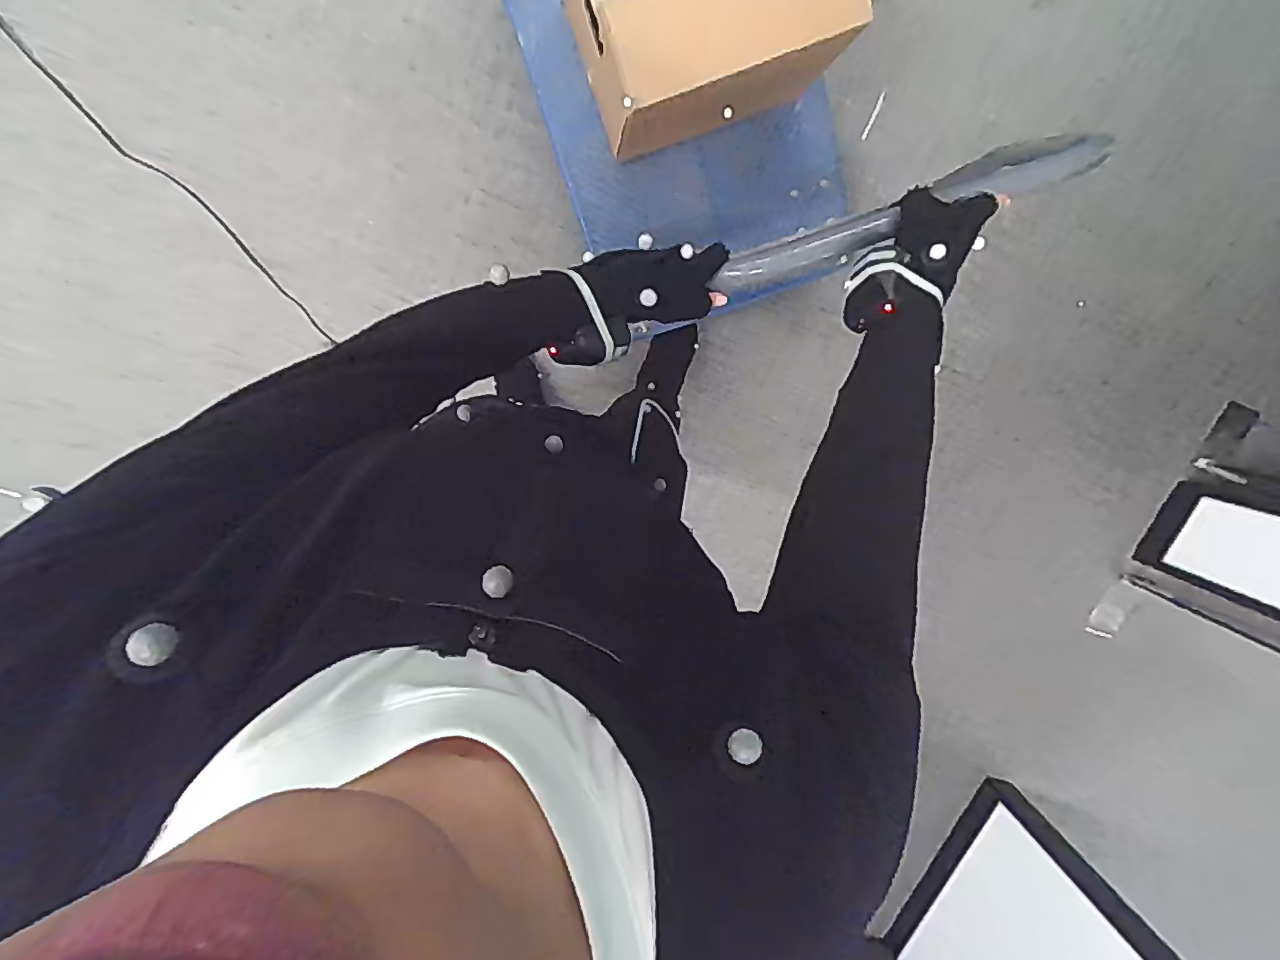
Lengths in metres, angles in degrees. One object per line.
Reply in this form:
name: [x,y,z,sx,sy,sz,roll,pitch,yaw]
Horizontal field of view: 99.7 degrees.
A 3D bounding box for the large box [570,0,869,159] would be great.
large box: [0.112,-0.828,0.945,0.408,0.320,0.320,-21,108,1]
